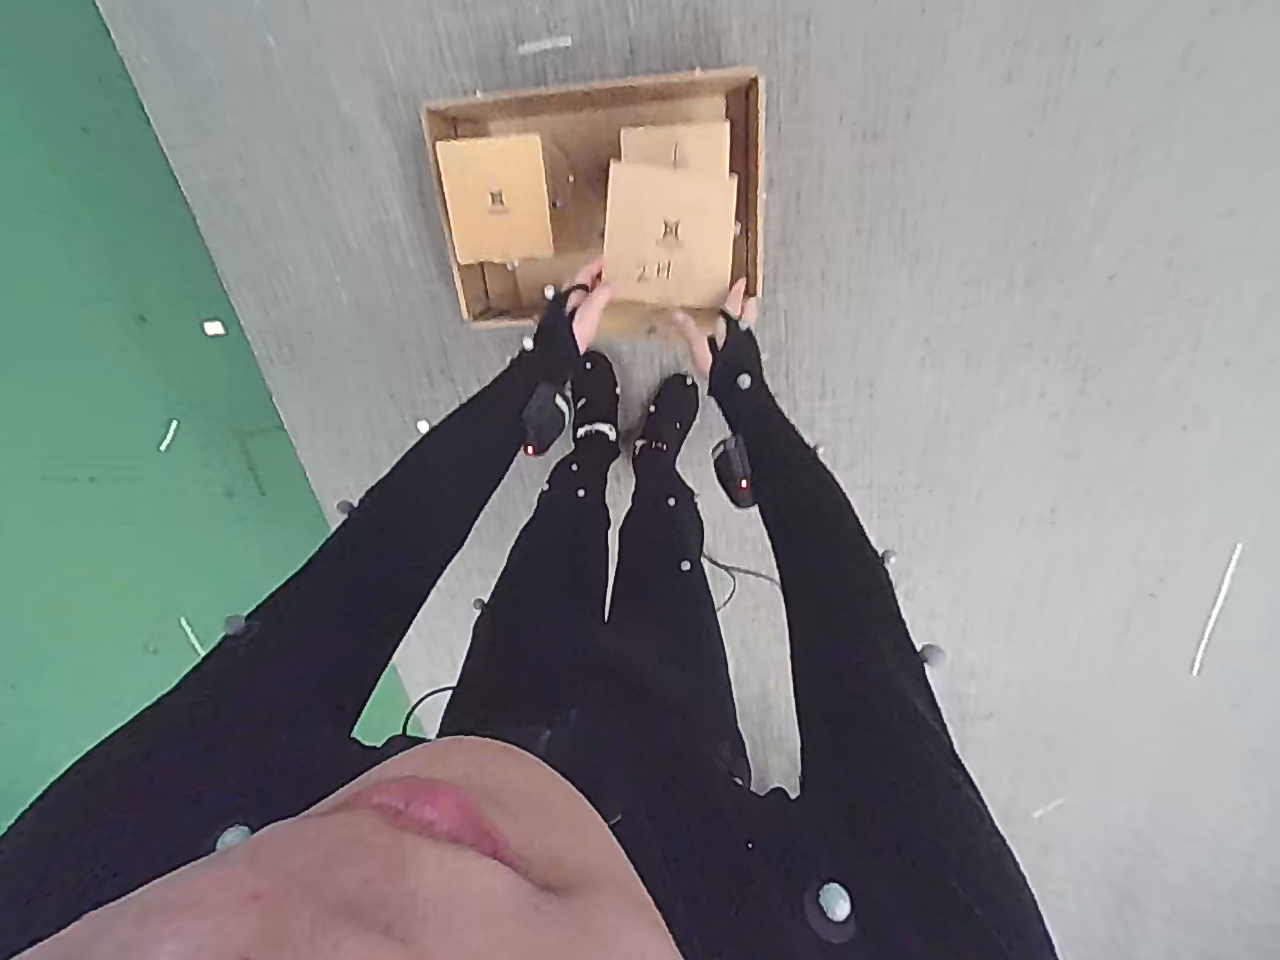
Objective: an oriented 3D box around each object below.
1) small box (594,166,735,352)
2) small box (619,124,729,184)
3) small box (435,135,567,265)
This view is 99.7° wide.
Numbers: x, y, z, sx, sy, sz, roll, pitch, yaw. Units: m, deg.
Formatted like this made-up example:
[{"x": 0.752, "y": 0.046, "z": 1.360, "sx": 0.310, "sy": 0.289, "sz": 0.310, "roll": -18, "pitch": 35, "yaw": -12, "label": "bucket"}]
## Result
[{"x": 0.025, "y": -0.295, "z": 0.757, "sx": 0.168, "sy": 0.176, "sz": 0.179, "roll": 5, "pitch": 87, "yaw": -6, "label": "small box"}, {"x": 0.058, "y": -0.475, "z": 0.904, "sx": 0.168, "sy": 0.176, "sz": 0.179, "roll": -1, "pitch": 114, "yaw": 4, "label": "small box"}, {"x": -0.225, "y": -0.468, "z": 0.923, "sx": 0.168, "sy": 0.176, "sz": 0.179, "roll": -3, "pitch": 114, "yaw": 3, "label": "small box"}]
